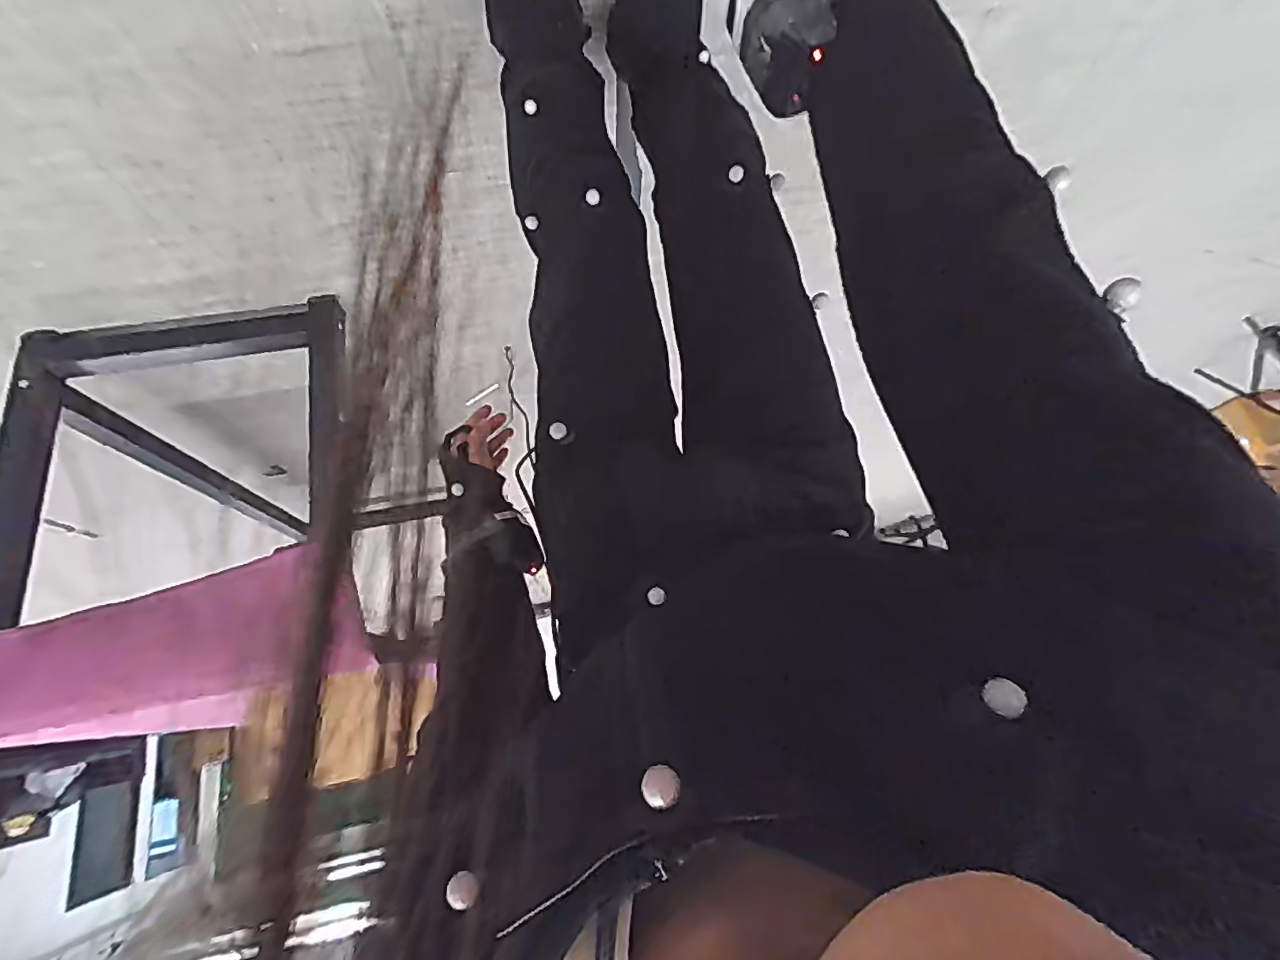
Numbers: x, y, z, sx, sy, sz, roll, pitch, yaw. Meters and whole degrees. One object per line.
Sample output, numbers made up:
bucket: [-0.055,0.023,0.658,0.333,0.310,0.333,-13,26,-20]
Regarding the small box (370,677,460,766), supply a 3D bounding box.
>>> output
small box: [-0.565,0.600,1.361,0.168,0.176,0.179,-11,160,-8]
